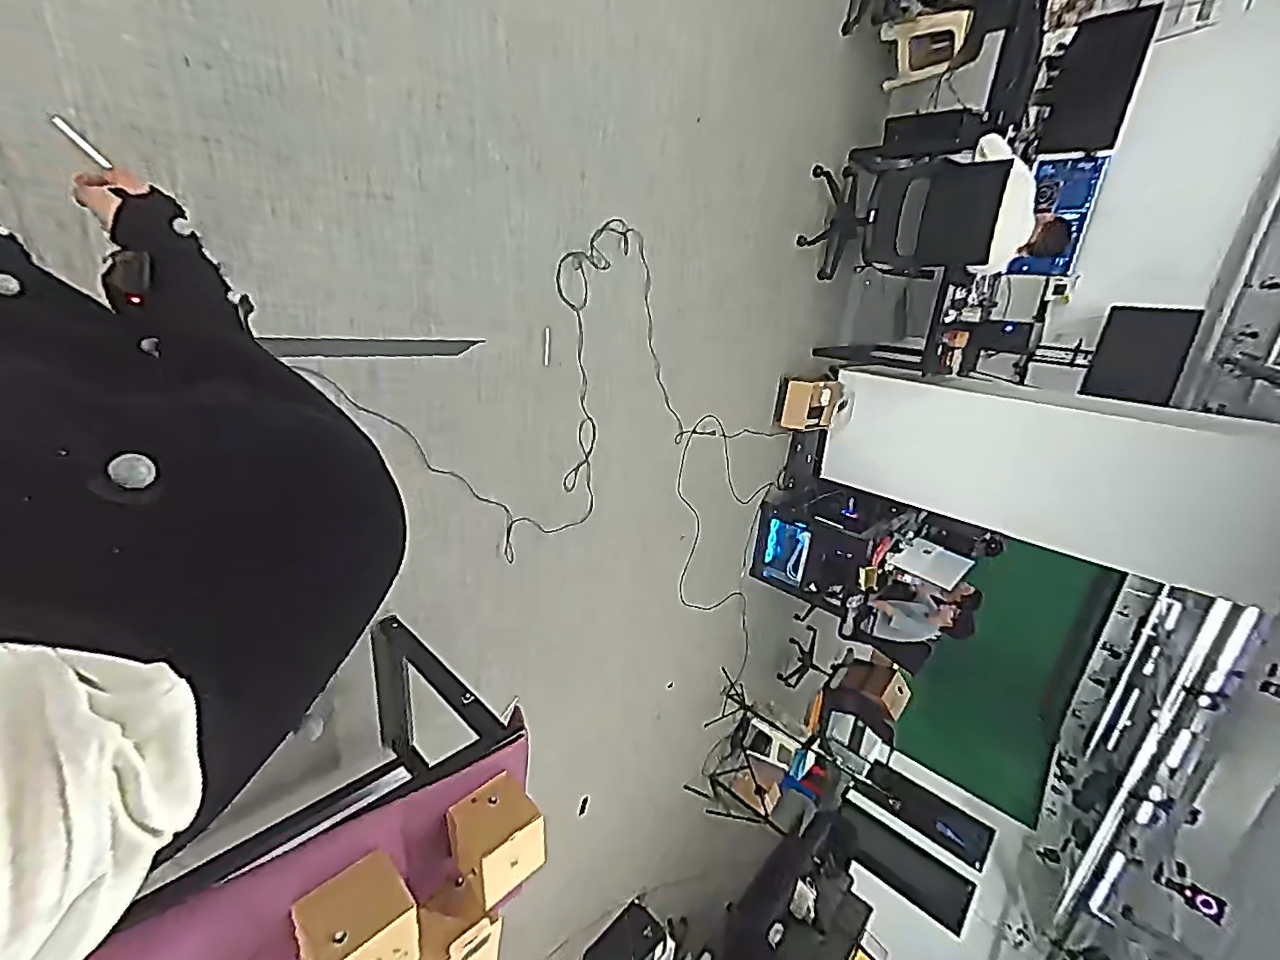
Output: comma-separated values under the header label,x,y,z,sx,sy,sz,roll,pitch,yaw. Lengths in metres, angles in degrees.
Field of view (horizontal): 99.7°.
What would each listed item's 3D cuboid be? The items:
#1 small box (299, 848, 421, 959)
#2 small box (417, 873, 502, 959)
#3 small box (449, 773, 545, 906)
label,x,y,z,sx,sy,sz,roll,pitch,yaw
small box,-0.567,0.910,1.094,0.179,0.176,0.168,-15,118,-46
small box,-0.459,1.110,1.316,0.168,0.176,0.179,-7,112,-47
small box,-0.351,0.872,1.329,0.168,0.176,0.179,-19,120,-42
